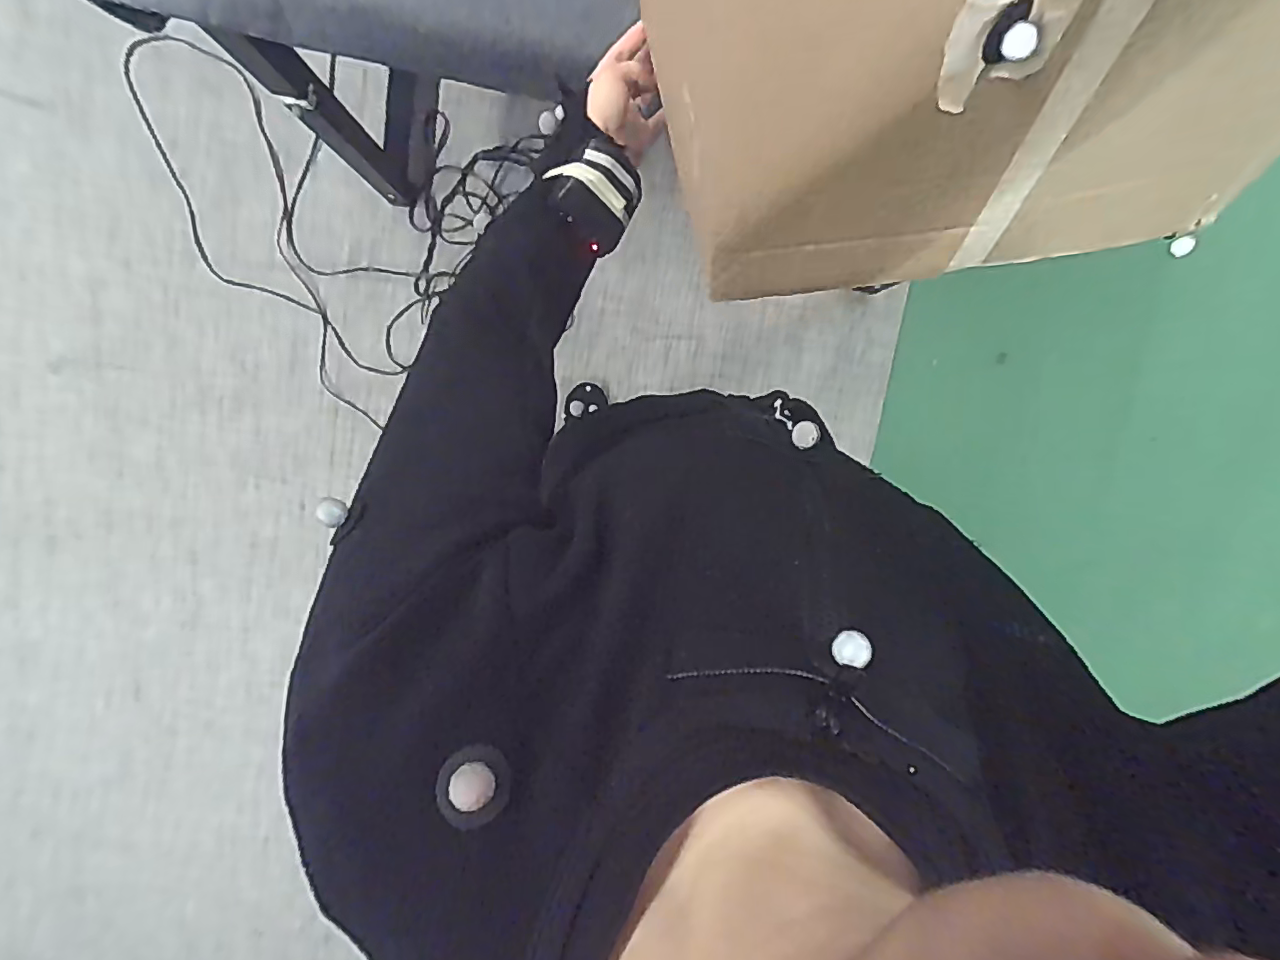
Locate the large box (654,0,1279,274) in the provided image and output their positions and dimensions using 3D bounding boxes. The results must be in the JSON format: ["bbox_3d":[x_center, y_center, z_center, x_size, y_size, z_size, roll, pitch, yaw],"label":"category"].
[{"bbox_3d":[0.167,-0.370,0.225,0.320,0.408,0.320,-9,67,1],"label":"large box"}]
